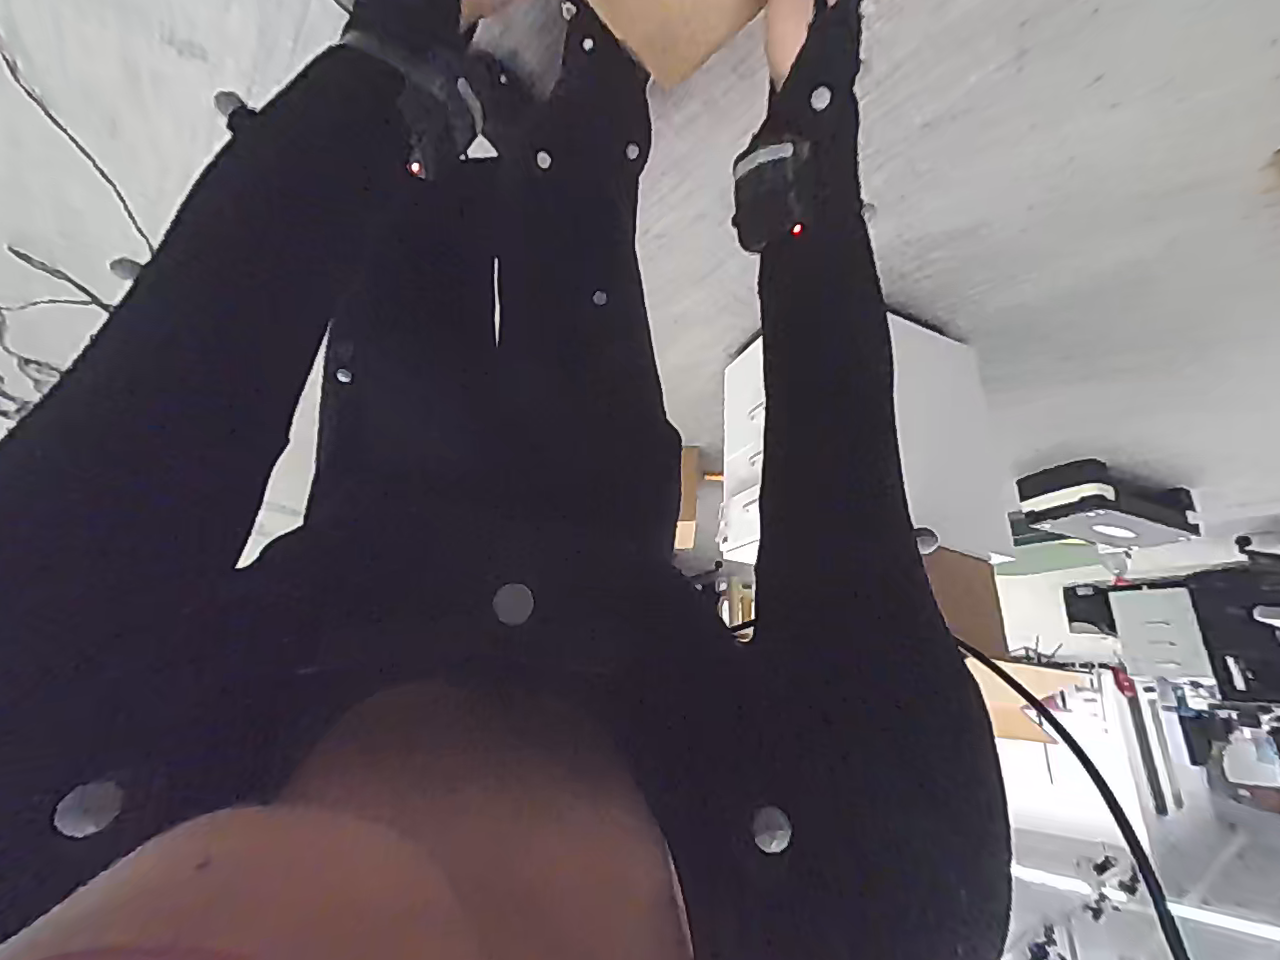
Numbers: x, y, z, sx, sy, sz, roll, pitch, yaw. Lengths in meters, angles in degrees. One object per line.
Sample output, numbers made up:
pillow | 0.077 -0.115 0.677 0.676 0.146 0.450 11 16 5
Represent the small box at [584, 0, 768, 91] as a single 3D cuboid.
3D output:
small box | 0.036 -0.477 0.425 0.179 0.176 0.168 -15 148 43
